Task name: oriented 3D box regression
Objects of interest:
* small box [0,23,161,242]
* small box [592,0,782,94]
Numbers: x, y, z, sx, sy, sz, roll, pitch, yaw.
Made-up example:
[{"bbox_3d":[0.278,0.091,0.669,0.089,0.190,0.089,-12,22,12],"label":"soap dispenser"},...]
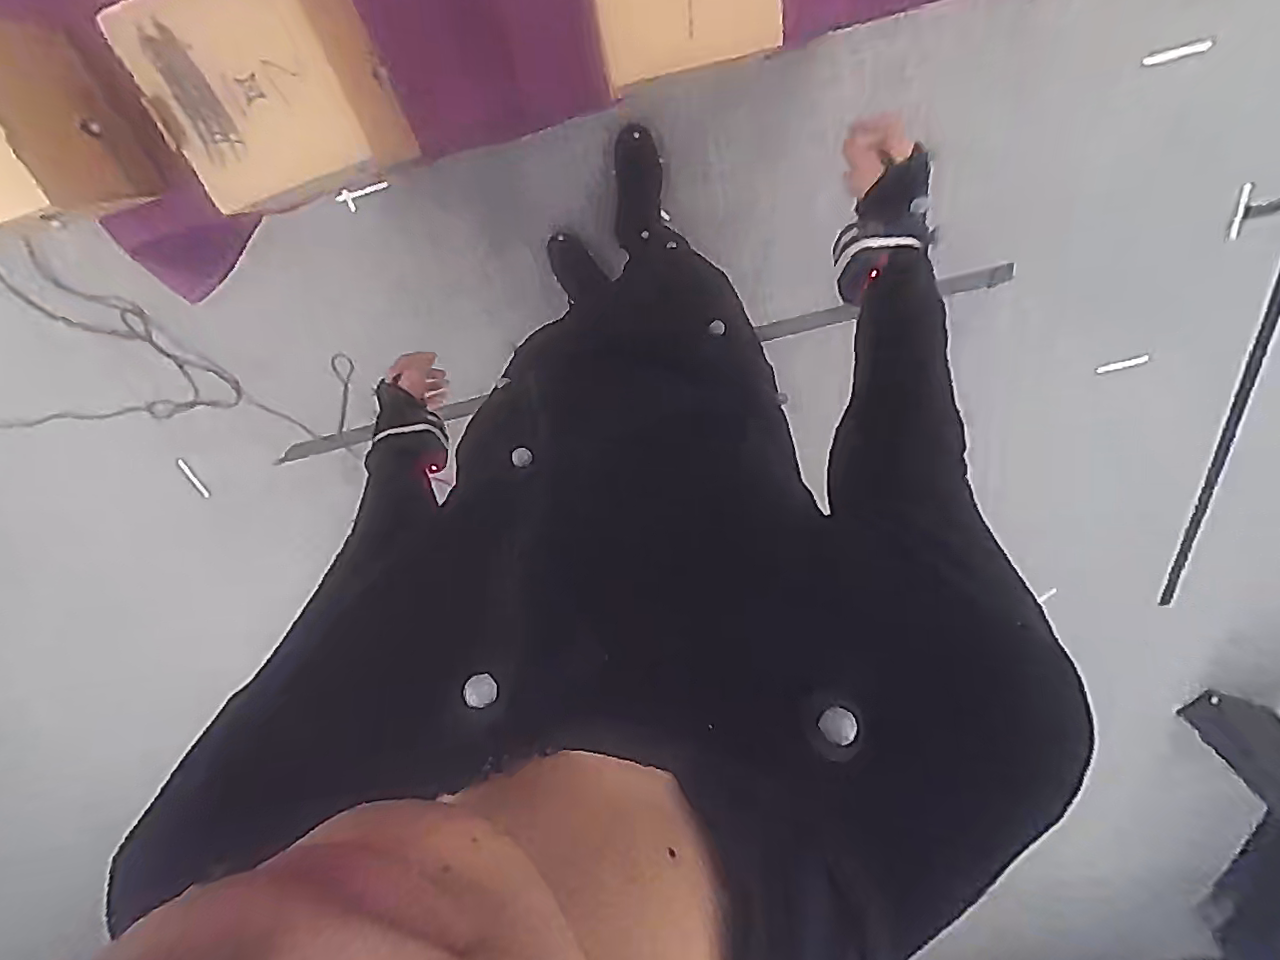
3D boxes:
[{"bbox_3d":[-0.688,-0.360,0.575,0.179,0.176,0.168,-16,122,5],"label":"small box"},{"bbox_3d":[0.032,-0.505,0.529,0.168,0.176,0.179,-11,123,4],"label":"small box"}]
